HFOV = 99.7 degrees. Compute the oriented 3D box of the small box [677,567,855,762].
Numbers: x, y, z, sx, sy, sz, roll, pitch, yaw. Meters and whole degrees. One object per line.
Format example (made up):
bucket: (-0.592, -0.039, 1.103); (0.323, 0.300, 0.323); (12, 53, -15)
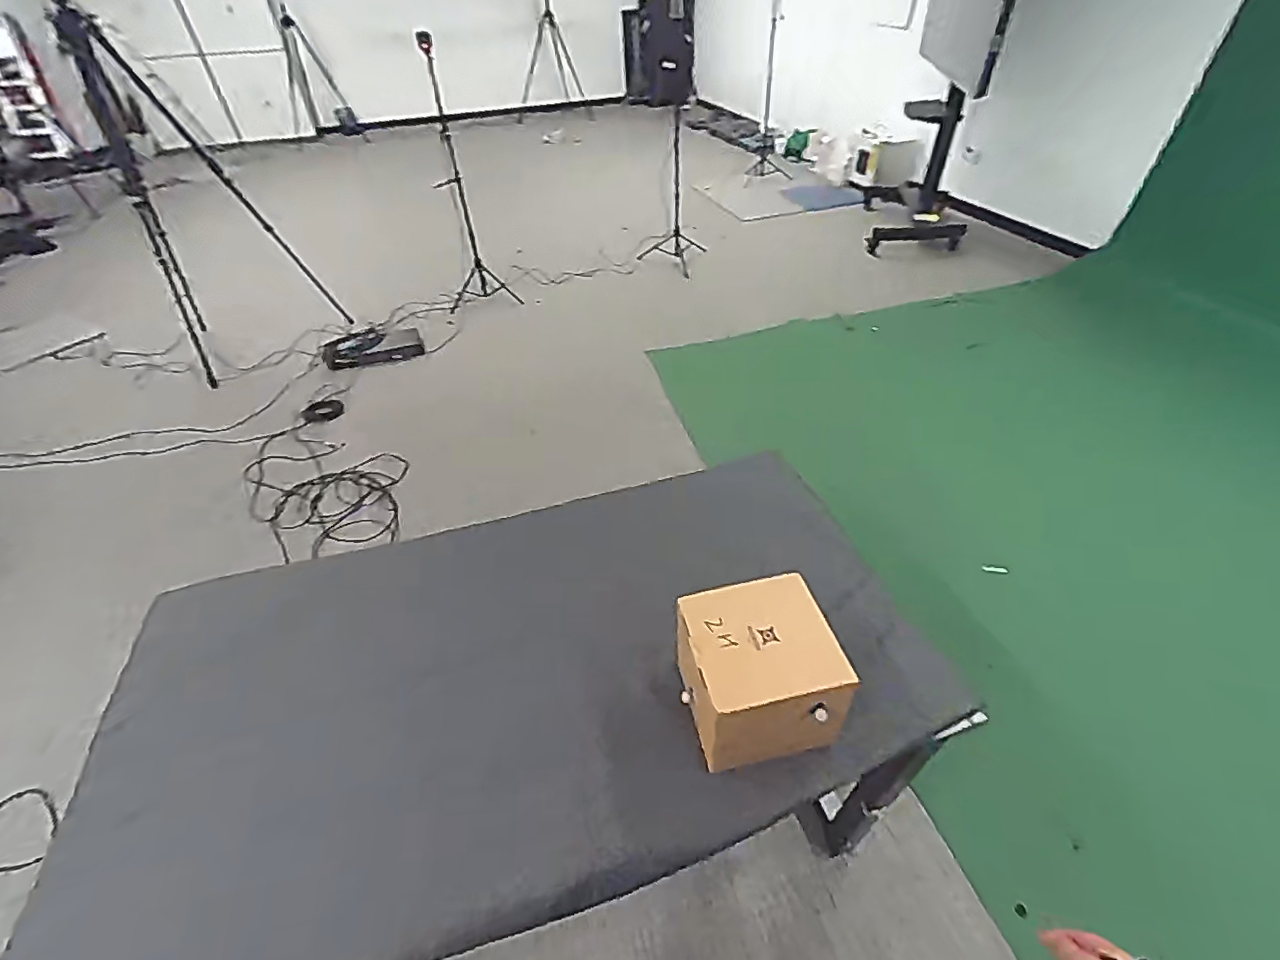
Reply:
small box: (0.150, 0.244, 0.716); (0.179, 0.176, 0.168); (-10, 42, -7)
